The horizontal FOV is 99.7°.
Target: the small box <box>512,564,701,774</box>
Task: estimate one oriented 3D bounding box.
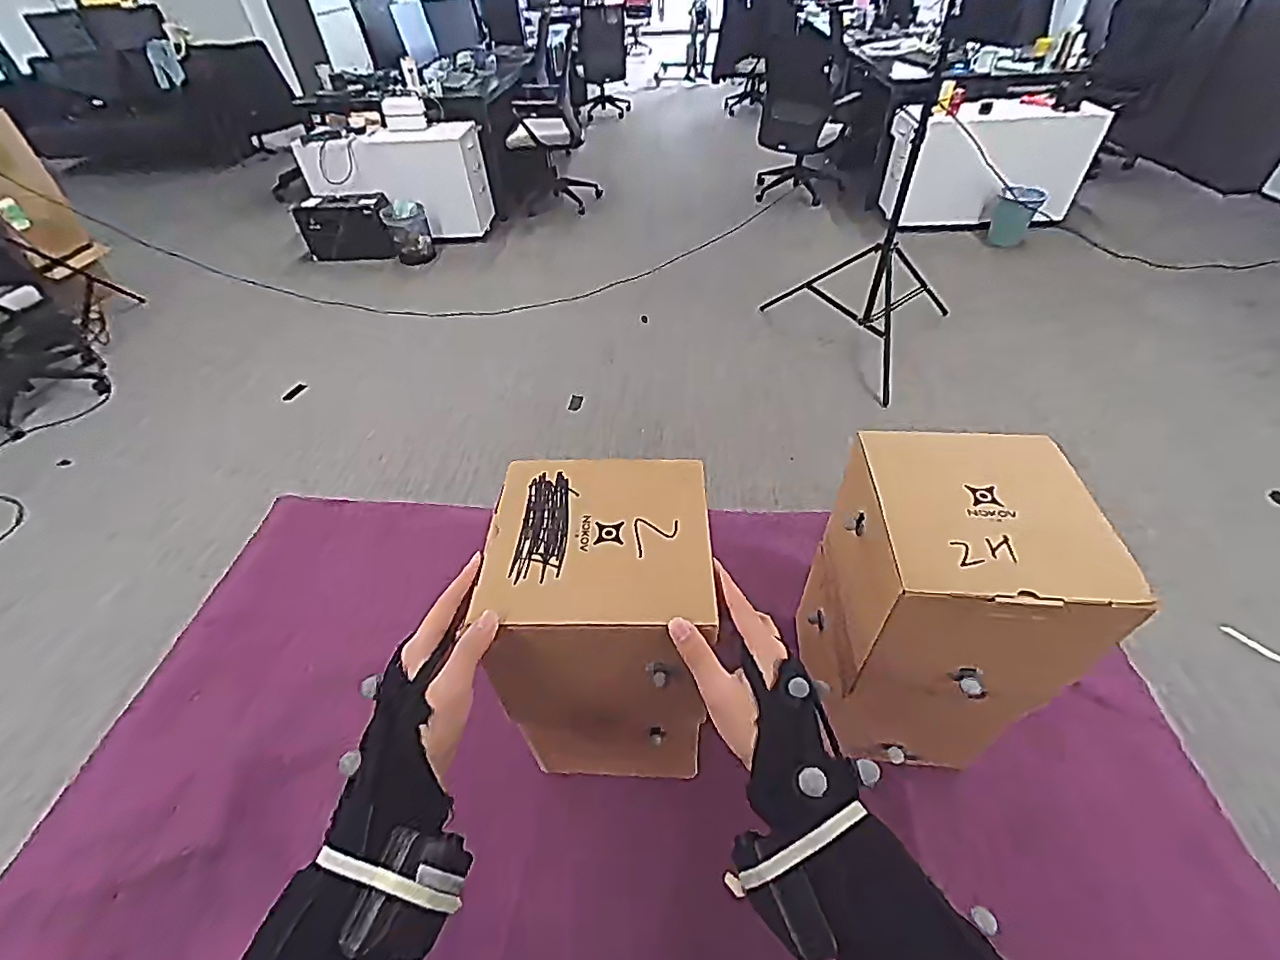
[{"bbox_3d":[-0.024,0.209,0.598,0.179,0.176,0.168,0,45,3],"label":"small box"}]

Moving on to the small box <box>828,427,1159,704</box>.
[{"bbox_3d":[0.275,0.073,0.480,0.168,0.176,0.179,2,45,6],"label":"small box"}]

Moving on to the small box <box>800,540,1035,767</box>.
[{"bbox_3d":[0.279,0.189,0.597,0.168,0.176,0.179,2,46,6],"label":"small box"}]
